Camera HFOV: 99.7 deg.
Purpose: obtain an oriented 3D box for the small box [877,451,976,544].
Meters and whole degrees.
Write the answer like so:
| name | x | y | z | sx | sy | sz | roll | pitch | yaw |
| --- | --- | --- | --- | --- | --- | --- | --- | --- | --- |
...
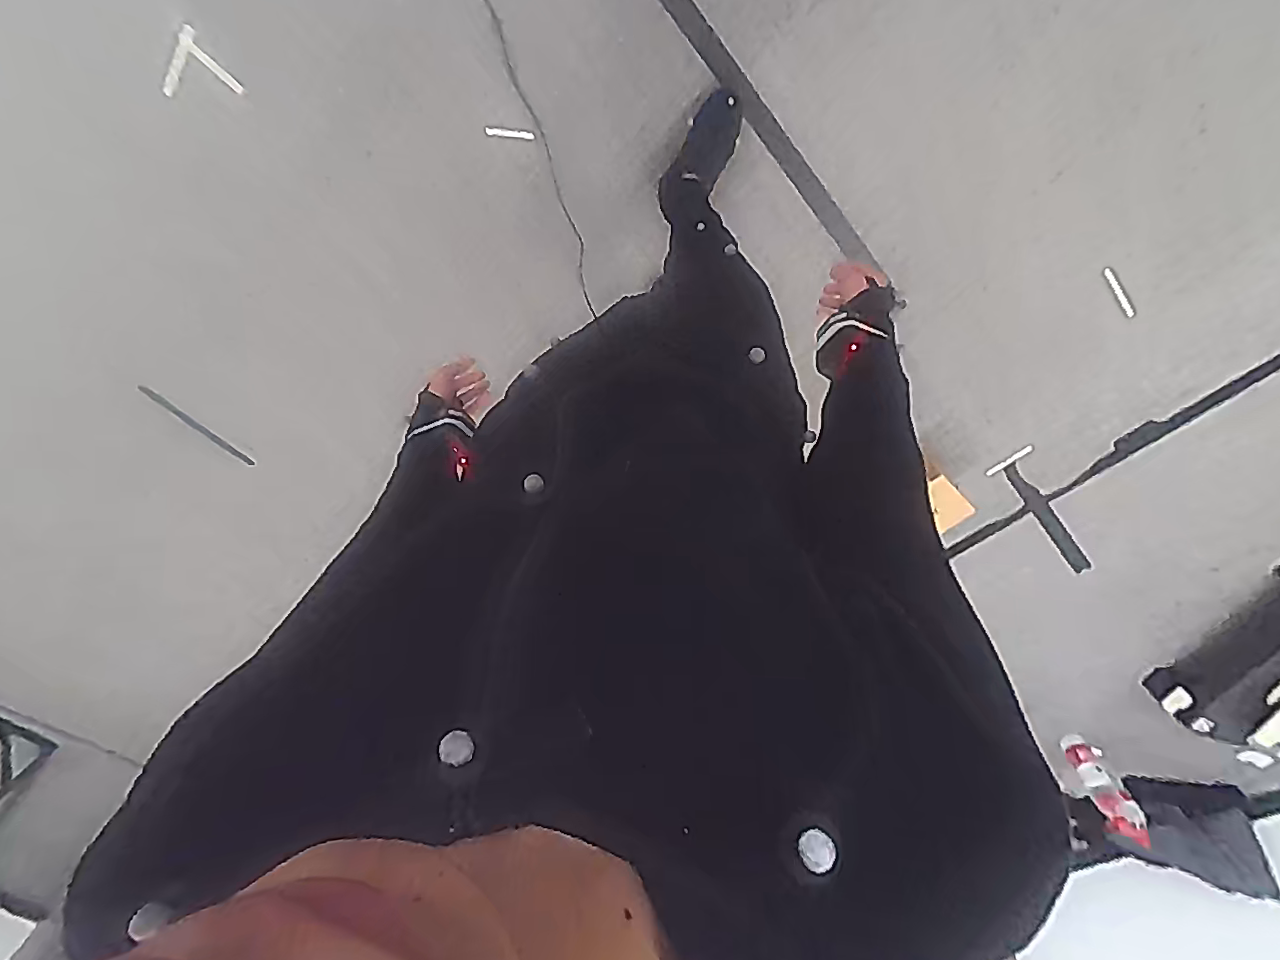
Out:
| name | x | y | z | sx | sy | sz | roll | pitch | yaw |
| --- | --- | --- | --- | --- | --- | --- | --- | --- | --- |
| small box | 0.835 | 0.046 | 1.589 | 0.179 | 0.176 | 0.168 | 40 | 116 | -15 |
